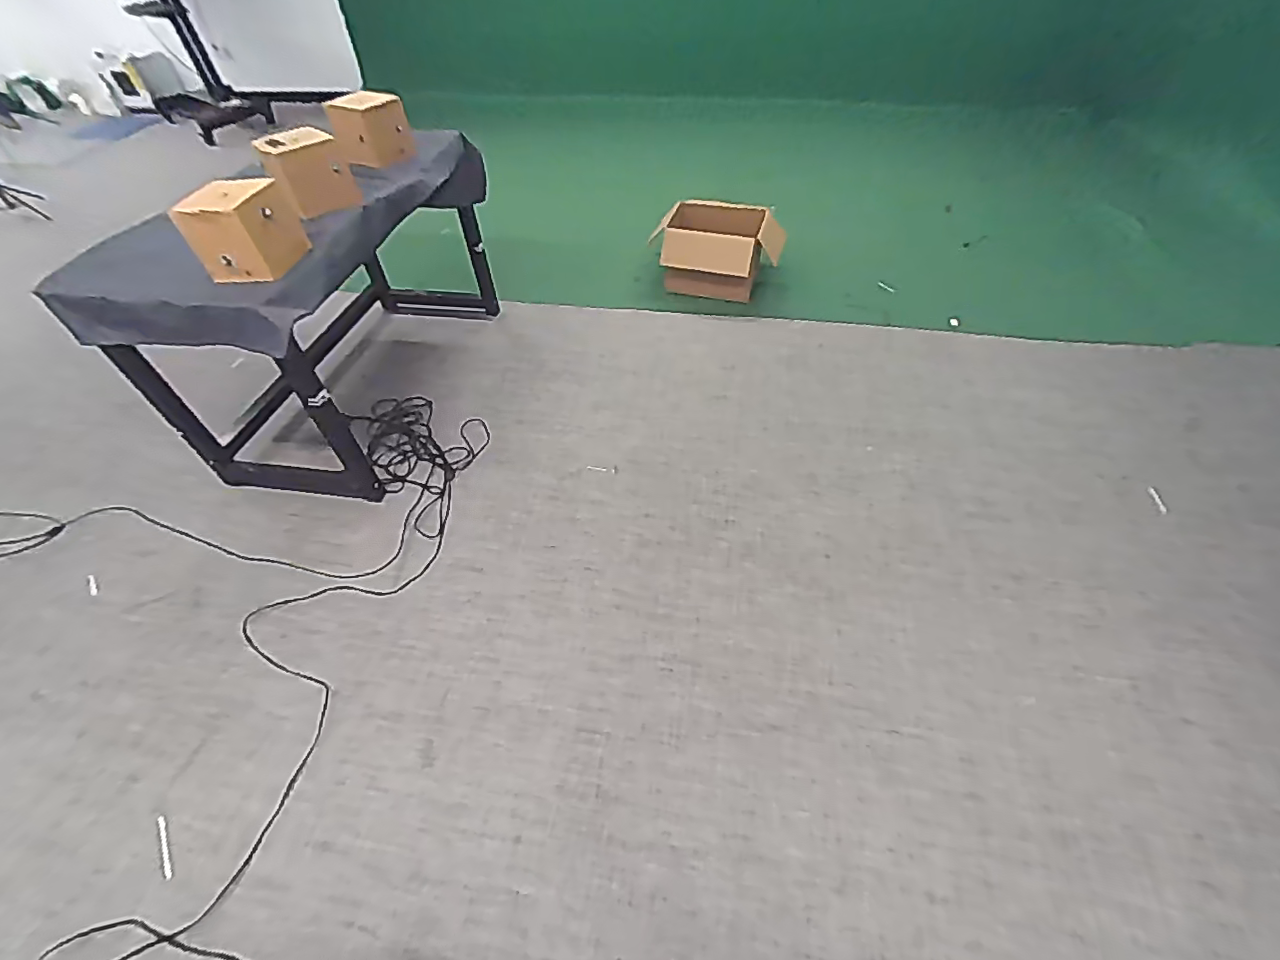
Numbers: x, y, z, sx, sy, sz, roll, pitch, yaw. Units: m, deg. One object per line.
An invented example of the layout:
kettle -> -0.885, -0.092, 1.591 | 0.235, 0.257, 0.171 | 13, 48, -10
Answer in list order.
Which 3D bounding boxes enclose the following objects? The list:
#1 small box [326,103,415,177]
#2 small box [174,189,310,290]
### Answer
small box -> -0.886, -1.127, 1.795 | 0.179, 0.176, 0.168 | 20, 51, 21
small box -> -0.934, -0.575, 1.293 | 0.168, 0.176, 0.179 | 1, 48, 7
